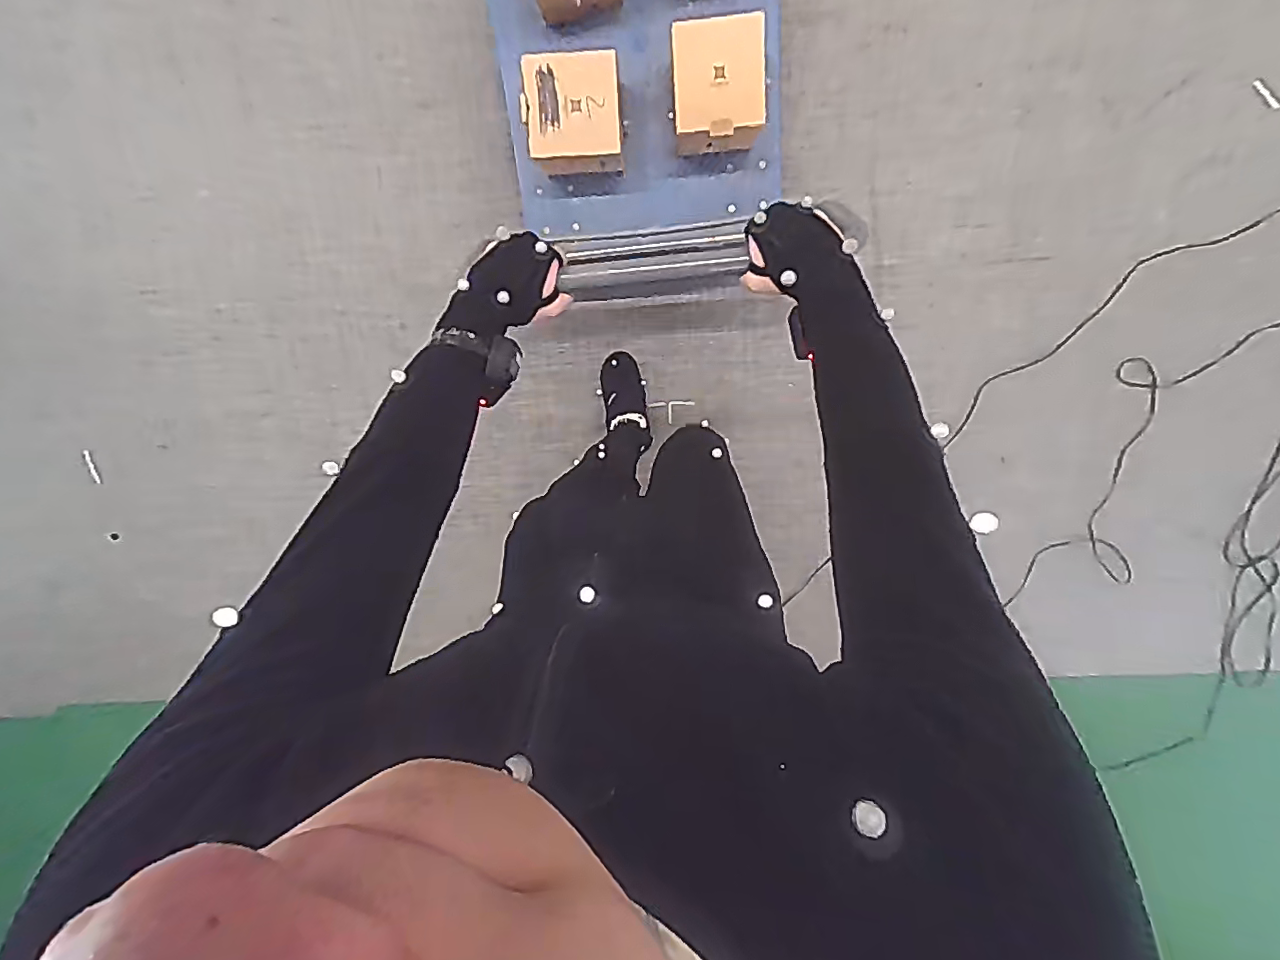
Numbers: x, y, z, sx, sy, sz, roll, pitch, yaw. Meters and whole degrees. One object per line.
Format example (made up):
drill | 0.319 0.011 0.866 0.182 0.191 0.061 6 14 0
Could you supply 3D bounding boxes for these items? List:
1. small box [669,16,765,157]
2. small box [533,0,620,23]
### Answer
small box | 0.146 -0.757 1.058 0.168 0.176 0.179 -5 110 3
small box | -0.134 -0.978 0.983 0.168 0.176 0.179 -12 109 5
